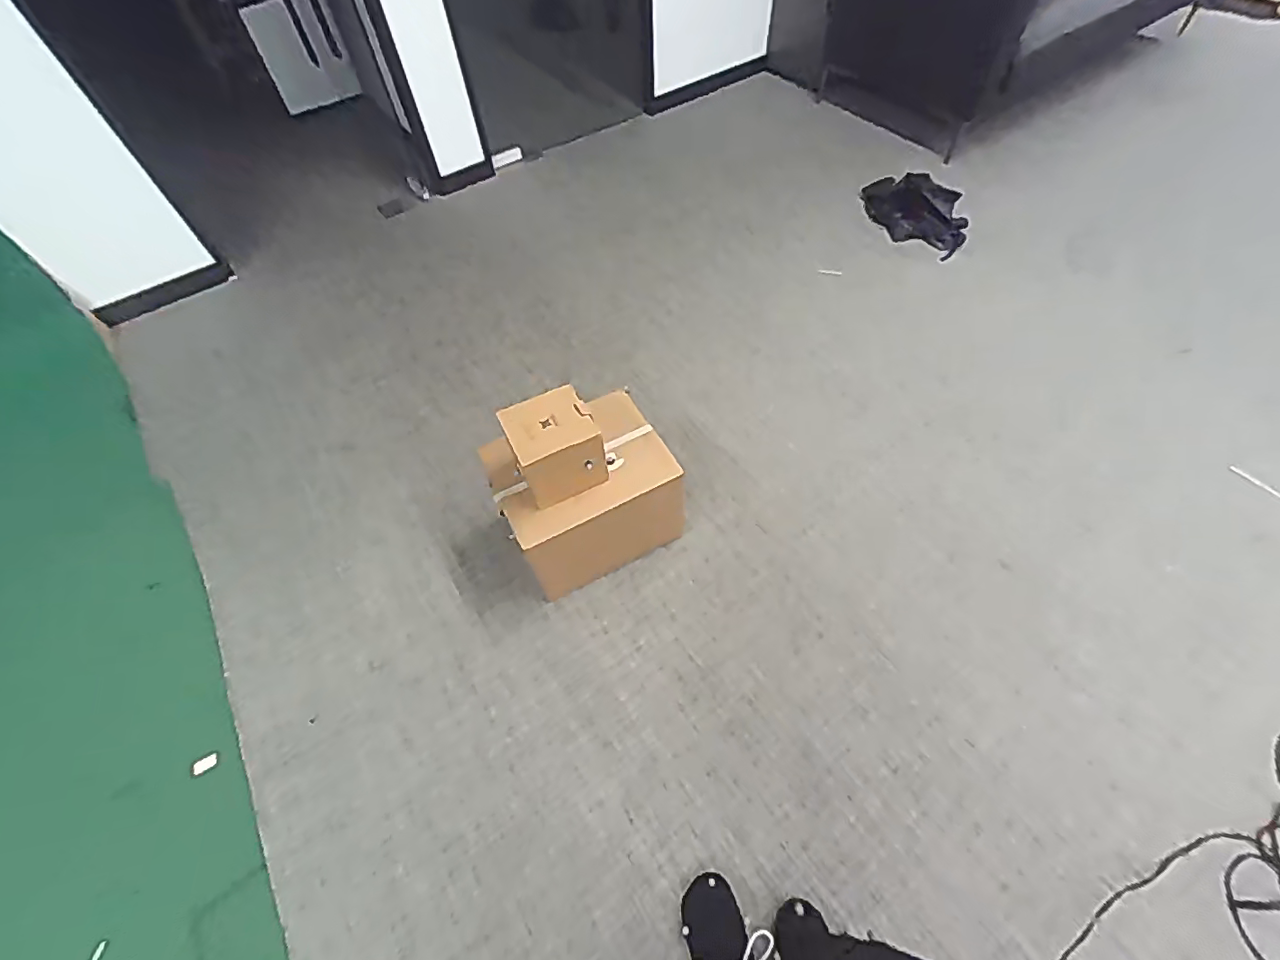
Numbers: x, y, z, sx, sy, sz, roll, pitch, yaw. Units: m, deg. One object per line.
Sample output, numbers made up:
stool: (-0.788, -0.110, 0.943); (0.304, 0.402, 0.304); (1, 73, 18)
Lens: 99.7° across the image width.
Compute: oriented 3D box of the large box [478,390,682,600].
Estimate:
large box: (-0.142, 0.042, 1.391); (0.408, 0.320, 0.320); (-25, 60, -15)

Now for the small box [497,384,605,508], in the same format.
small box: (-0.185, -0.071, 1.177); (0.179, 0.176, 0.168); (-25, 57, -13)
